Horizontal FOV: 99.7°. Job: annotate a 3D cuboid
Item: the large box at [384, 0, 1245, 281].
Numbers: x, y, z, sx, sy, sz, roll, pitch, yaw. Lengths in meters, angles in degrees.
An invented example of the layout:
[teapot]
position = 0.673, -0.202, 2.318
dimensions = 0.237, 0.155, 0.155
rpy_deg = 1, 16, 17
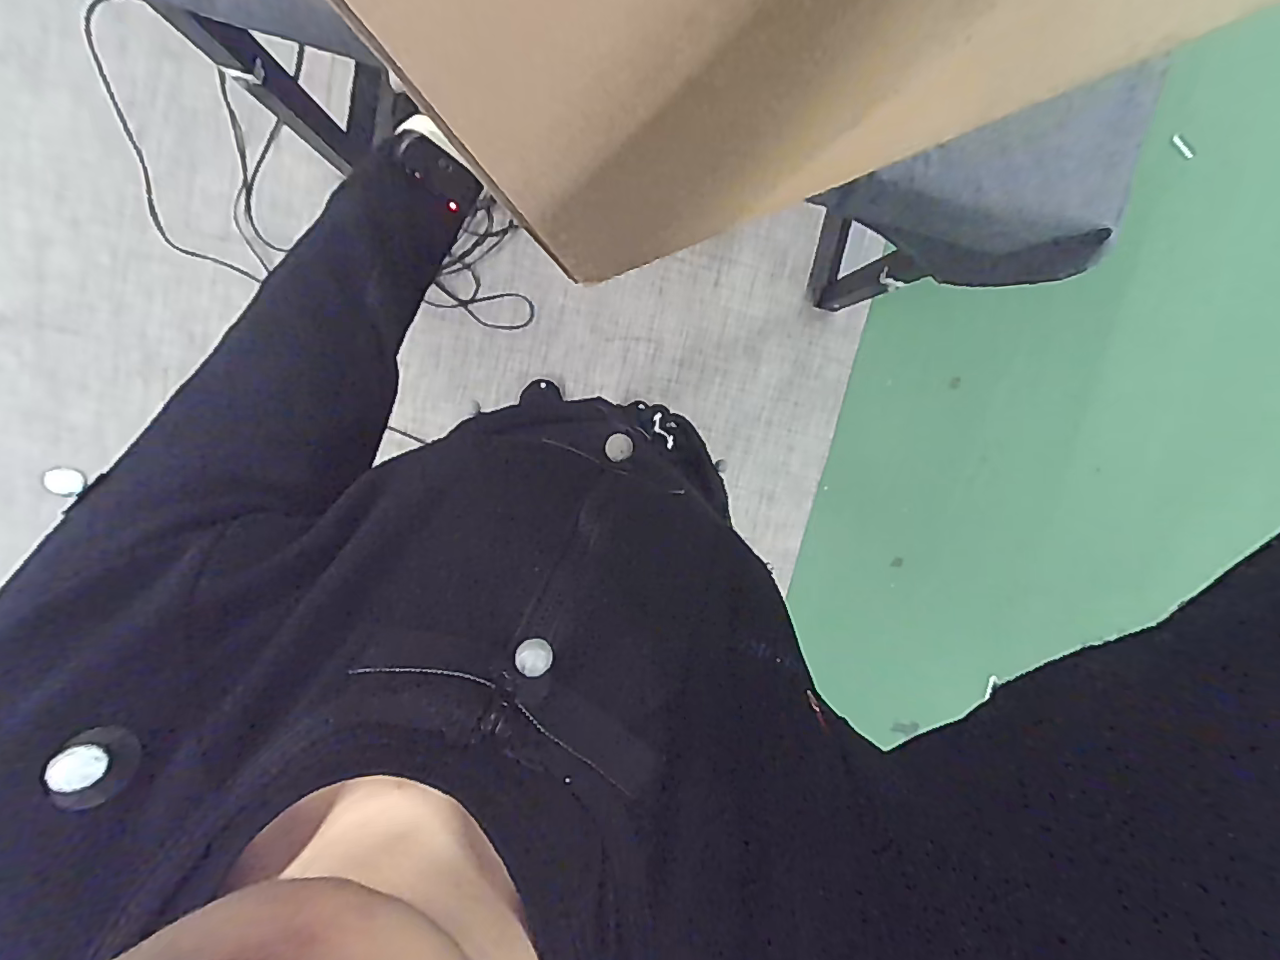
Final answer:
[large box]
position = 0.077, -0.352, 0.202
dimensions = 0.408, 0.320, 0.320
rpy_deg = -18, 72, 18
